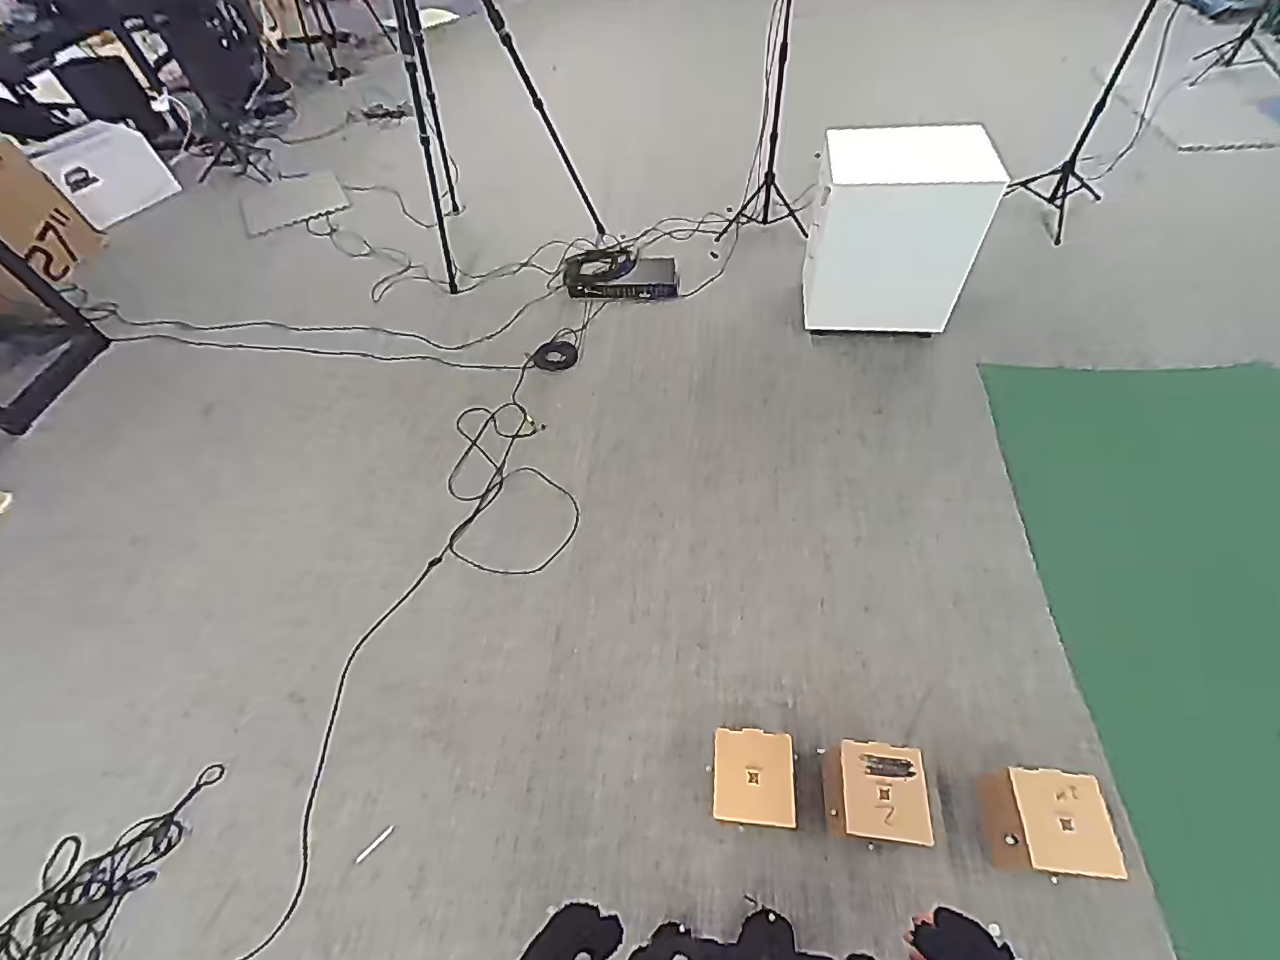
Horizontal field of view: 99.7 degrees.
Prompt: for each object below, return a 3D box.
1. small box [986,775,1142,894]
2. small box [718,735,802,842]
[{"bbox_3d":[0.839,0.716,1.093,0.168,0.176,0.179,2,54,7],"label":"small box"},{"bbox_3d":[0.257,0.678,1.183,0.168,0.176,0.179,1,53,8],"label":"small box"}]
